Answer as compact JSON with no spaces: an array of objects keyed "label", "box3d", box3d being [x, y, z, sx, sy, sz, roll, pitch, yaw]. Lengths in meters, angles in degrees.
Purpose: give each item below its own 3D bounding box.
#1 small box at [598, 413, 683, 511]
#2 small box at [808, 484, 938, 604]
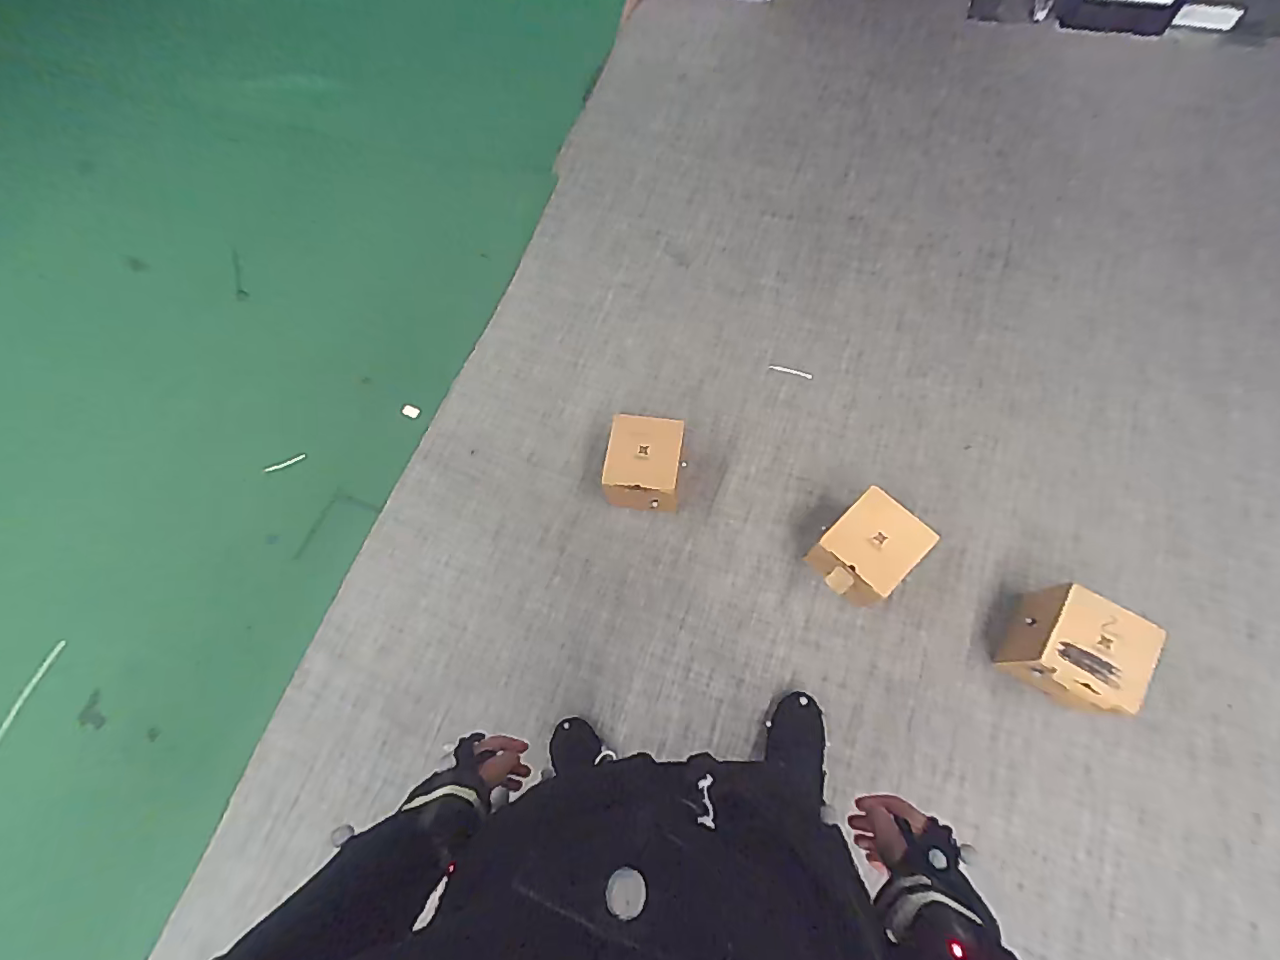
[{"label":"small box","box3d":[0.009,-0.036,1.271,0.168,0.176,0.179,7,70,8]},{"label":"small box","box3d":[0.482,0.143,1.152,0.179,0.176,0.168,-44,72,-9]}]
